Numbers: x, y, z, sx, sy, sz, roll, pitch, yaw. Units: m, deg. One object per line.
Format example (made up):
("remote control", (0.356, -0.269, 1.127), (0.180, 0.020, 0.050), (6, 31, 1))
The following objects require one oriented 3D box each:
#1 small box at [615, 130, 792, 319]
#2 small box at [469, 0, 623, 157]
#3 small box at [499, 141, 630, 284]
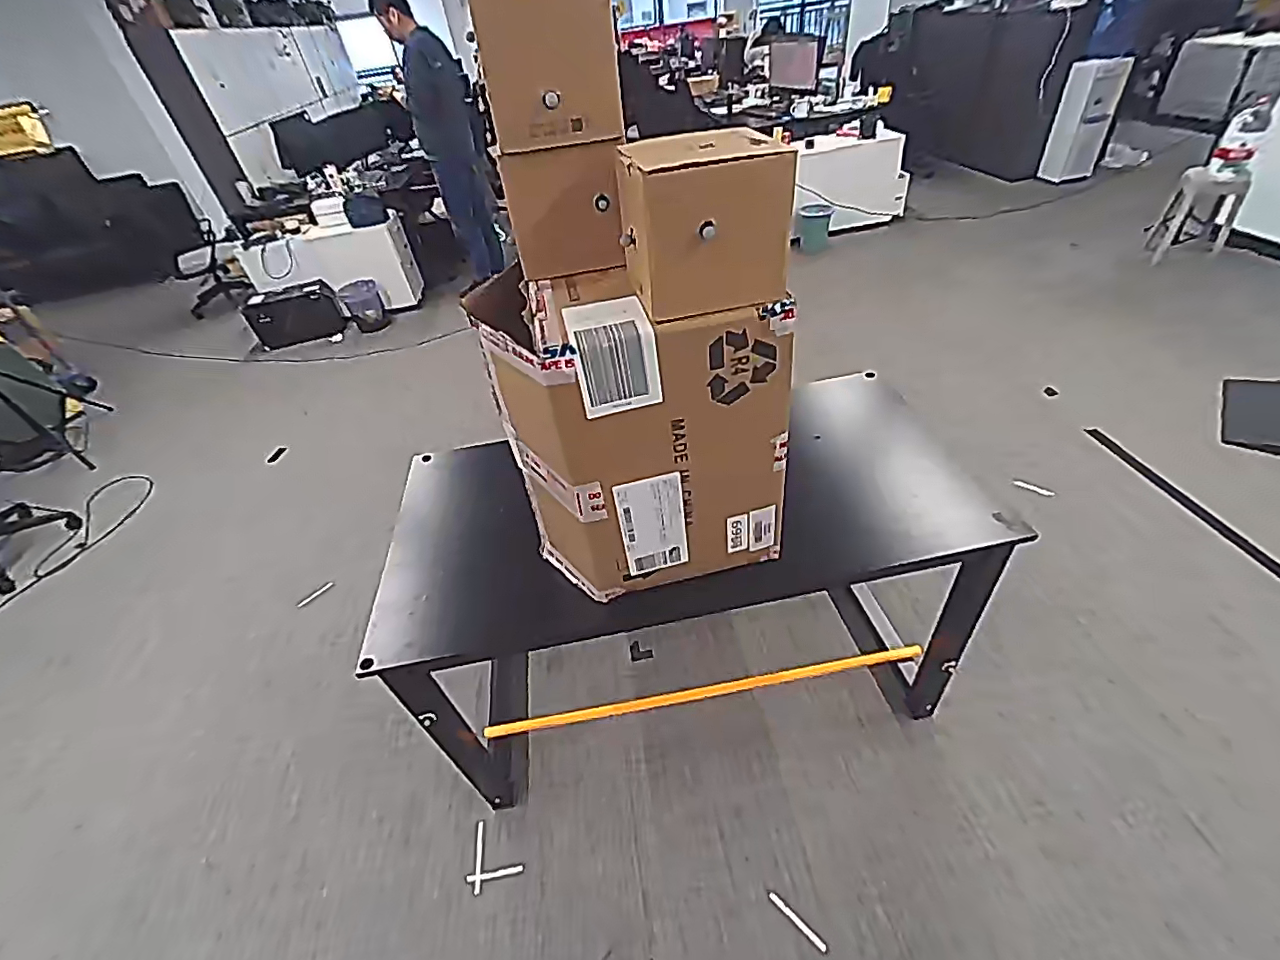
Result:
("small box", (0.076, -0.322, 0.688), (0.179, 0.176, 0.168), (-13, 43, -5))
("small box", (-0.122, -0.545, 0.726), (0.168, 0.176, 0.179), (-12, 38, -5))
("small box", (-0.109, -0.420, 0.832), (0.179, 0.176, 0.168), (-13, 38, -5))
